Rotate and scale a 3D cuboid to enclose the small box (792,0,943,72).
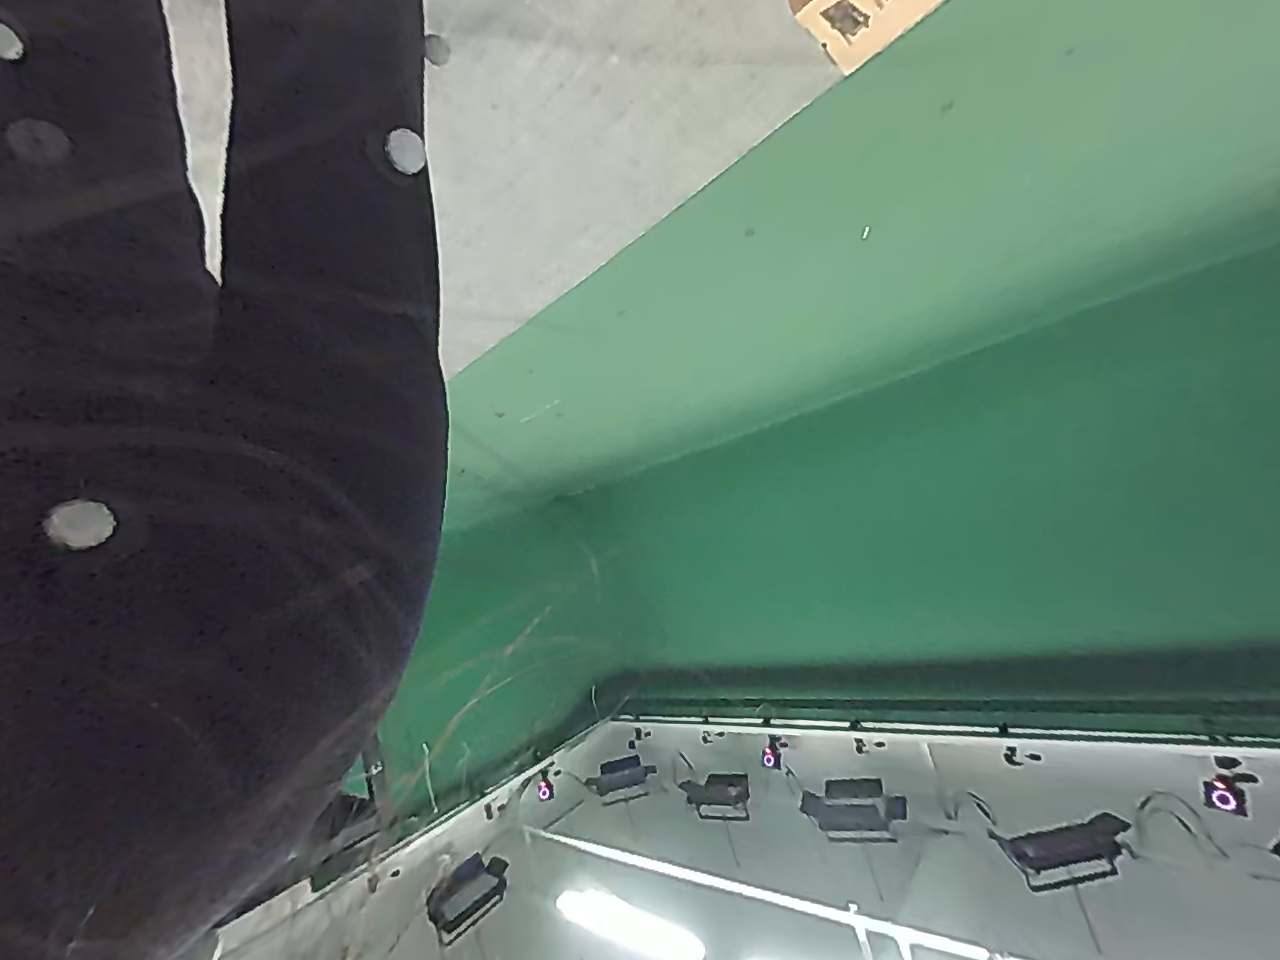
[{"bbox_3d":[0.284,-0.678,0.670,0.179,0.176,0.168,-20,172,42],"label":"small box"}]
